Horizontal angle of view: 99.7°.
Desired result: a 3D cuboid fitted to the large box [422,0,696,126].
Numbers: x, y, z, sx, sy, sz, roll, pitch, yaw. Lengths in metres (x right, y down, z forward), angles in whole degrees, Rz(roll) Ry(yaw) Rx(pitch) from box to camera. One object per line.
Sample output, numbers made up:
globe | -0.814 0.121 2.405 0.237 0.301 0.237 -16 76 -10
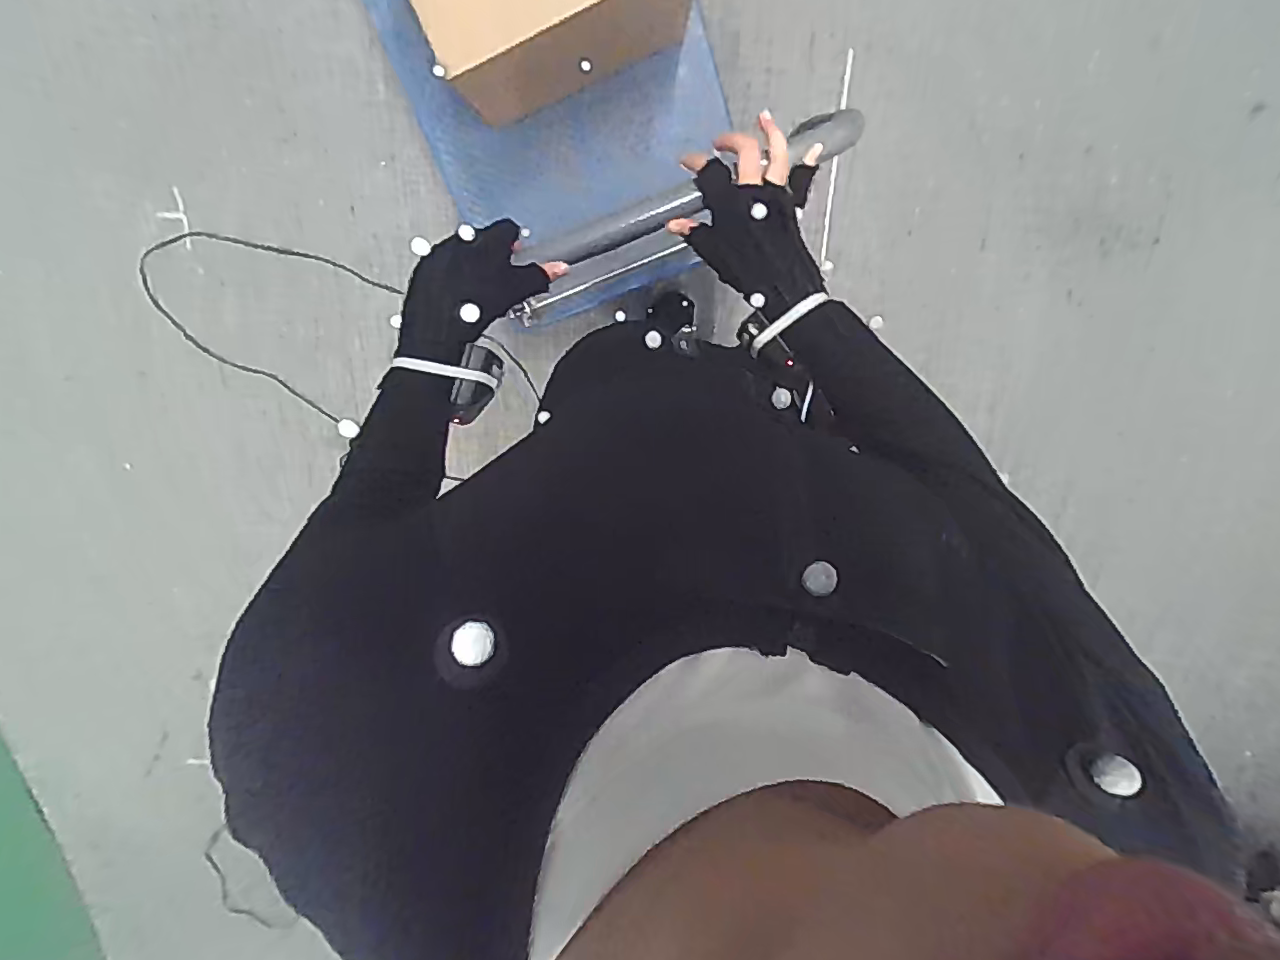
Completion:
large box | -0.145 -0.844 0.855 0.408 0.320 0.320 -22 109 7
